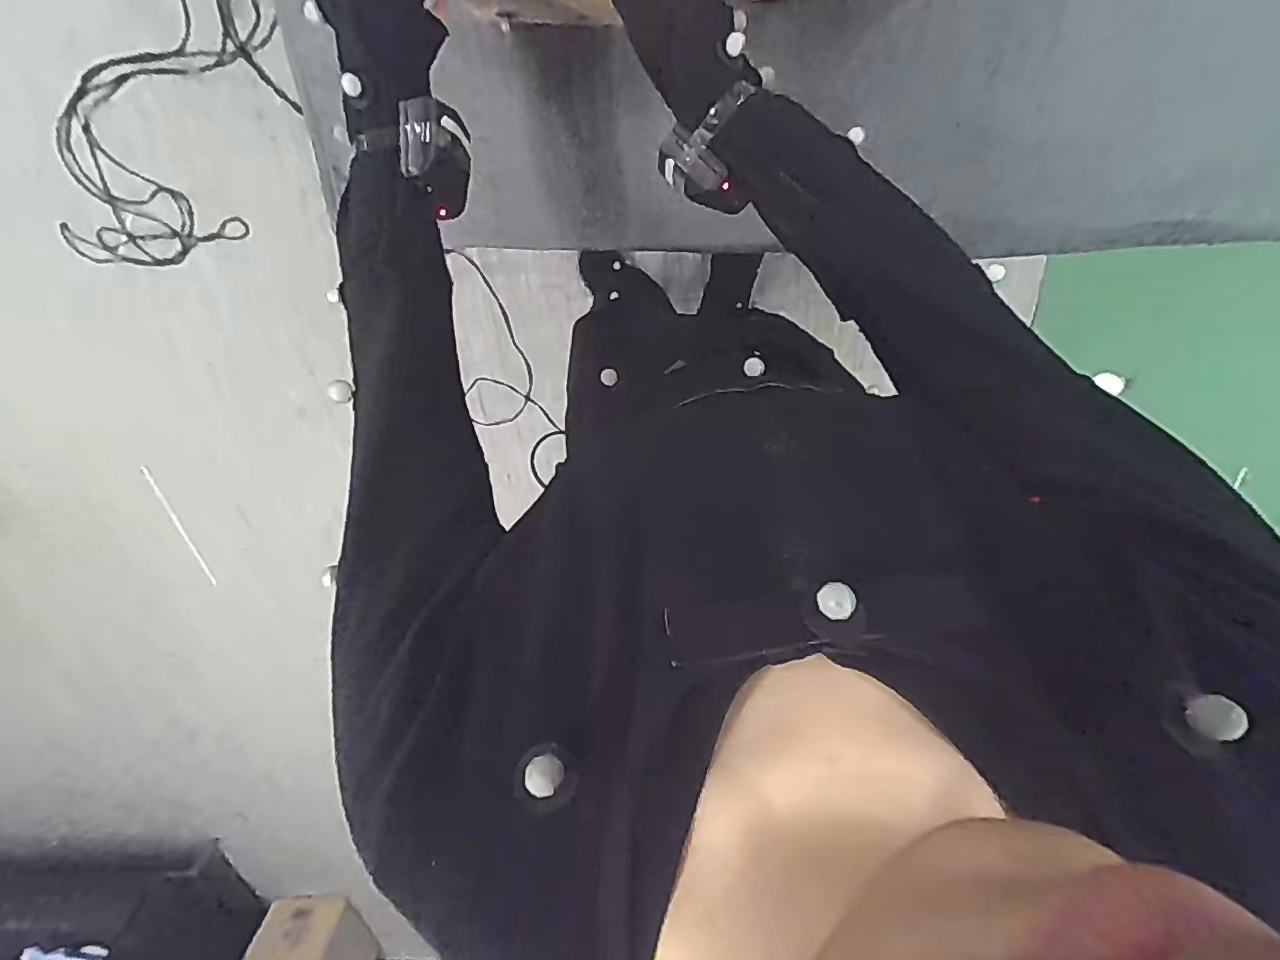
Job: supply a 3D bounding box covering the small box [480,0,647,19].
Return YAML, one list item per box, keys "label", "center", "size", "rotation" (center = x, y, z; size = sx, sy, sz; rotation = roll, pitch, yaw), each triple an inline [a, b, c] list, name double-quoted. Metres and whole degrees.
- label: "small box"
  center: [-0.075, -0.489, 0.418]
  size: [0.168, 0.176, 0.179]
  rotation: [3, 117, 2]
